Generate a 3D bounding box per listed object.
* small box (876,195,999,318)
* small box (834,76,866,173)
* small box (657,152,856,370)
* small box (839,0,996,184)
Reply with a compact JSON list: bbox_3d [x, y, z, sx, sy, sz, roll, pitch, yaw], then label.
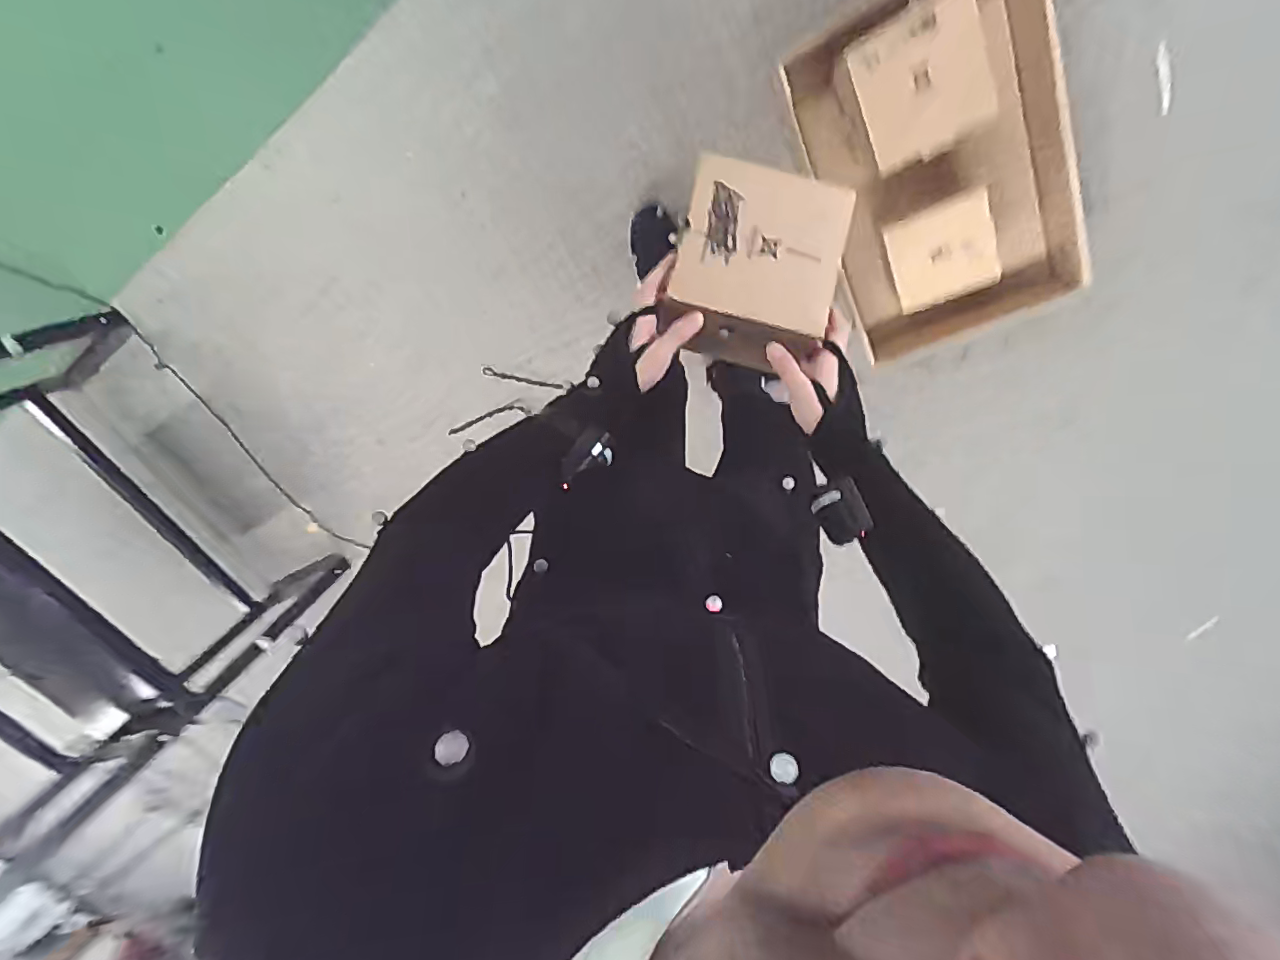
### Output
[{"bbox_3d":[0.585,-0.449,1.084,0.179,0.176,0.168,-17,114,23],"label":"small box"},{"bbox_3d":[0.461,-0.681,0.980,0.179,0.176,0.168,-18,114,22],"label":"small box"},{"bbox_3d":[0.123,-0.243,0.644,0.179,0.176,0.168,13,88,-3],"label":"small box"},{"bbox_3d":[0.424,-0.597,0.845,0.168,0.176,0.179,-19,115,23],"label":"small box"}]
